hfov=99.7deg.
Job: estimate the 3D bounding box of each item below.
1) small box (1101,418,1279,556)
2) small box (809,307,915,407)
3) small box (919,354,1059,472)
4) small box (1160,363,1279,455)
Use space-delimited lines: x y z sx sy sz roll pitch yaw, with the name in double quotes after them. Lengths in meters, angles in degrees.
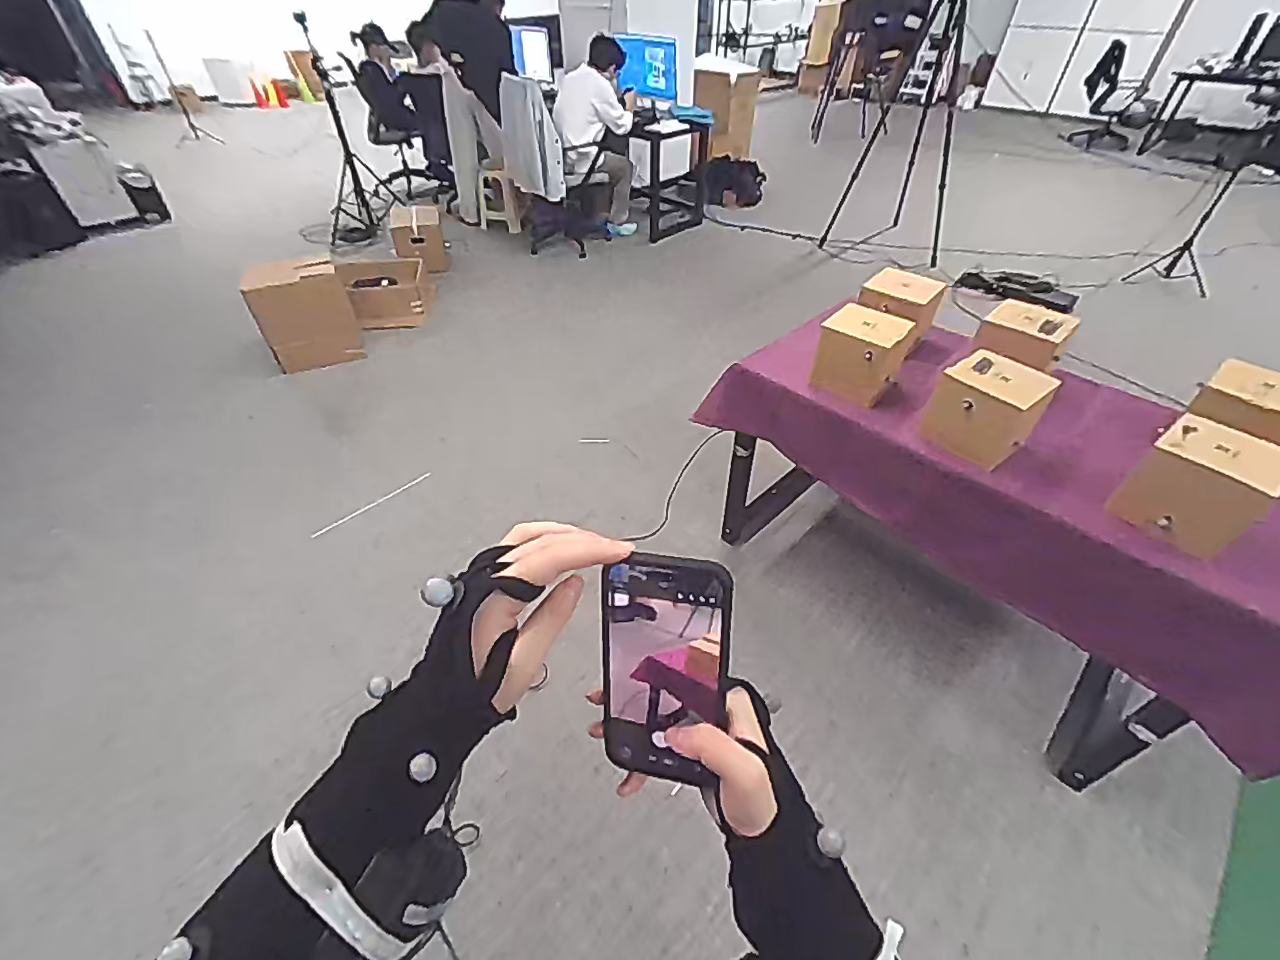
1.037 0.019 1.014 0.168 0.176 0.179 -26 49 -26 "small box"
0.553 -0.309 1.368 0.179 0.176 0.168 31 51 28 "small box"
0.758 -0.148 1.194 0.168 0.176 0.179 -27 50 -26 "small box"
1.275 -0.120 1.162 0.179 0.176 0.168 -30 50 -27 "small box"
